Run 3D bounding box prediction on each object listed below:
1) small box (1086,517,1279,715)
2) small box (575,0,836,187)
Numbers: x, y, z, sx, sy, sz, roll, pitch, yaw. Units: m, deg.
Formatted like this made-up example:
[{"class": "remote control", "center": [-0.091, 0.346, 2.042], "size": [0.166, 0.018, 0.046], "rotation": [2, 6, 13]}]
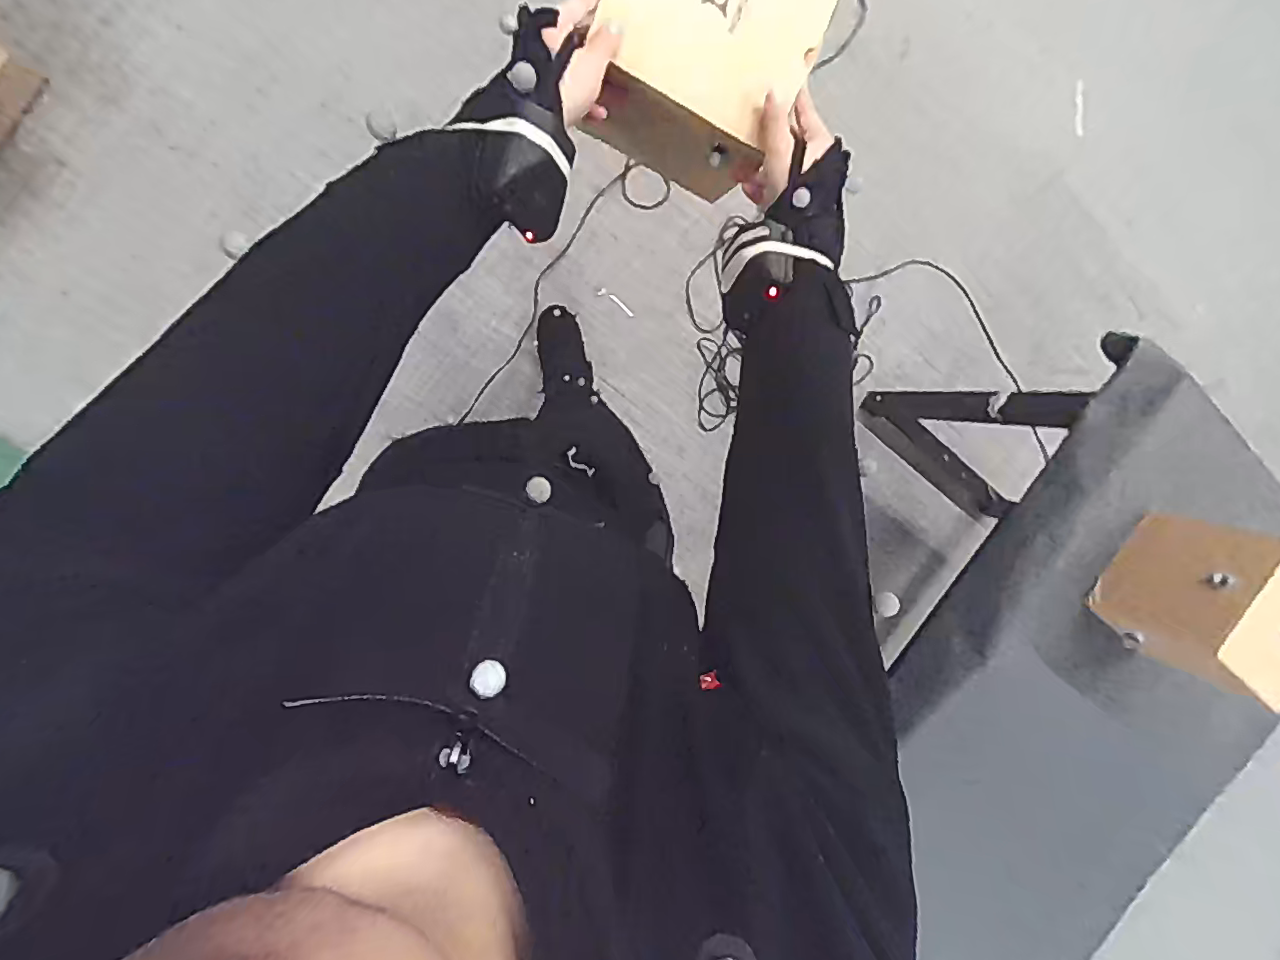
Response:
[{"class": "small box", "center": [0.783, 0.174, 0.746], "size": [0.168, 0.176, 0.179], "rotation": [35, 92, -15]}, {"class": "small box", "center": [0.050, -0.399, 0.494], "size": [0.179, 0.176, 0.168], "rotation": [20, 101, -16]}]
